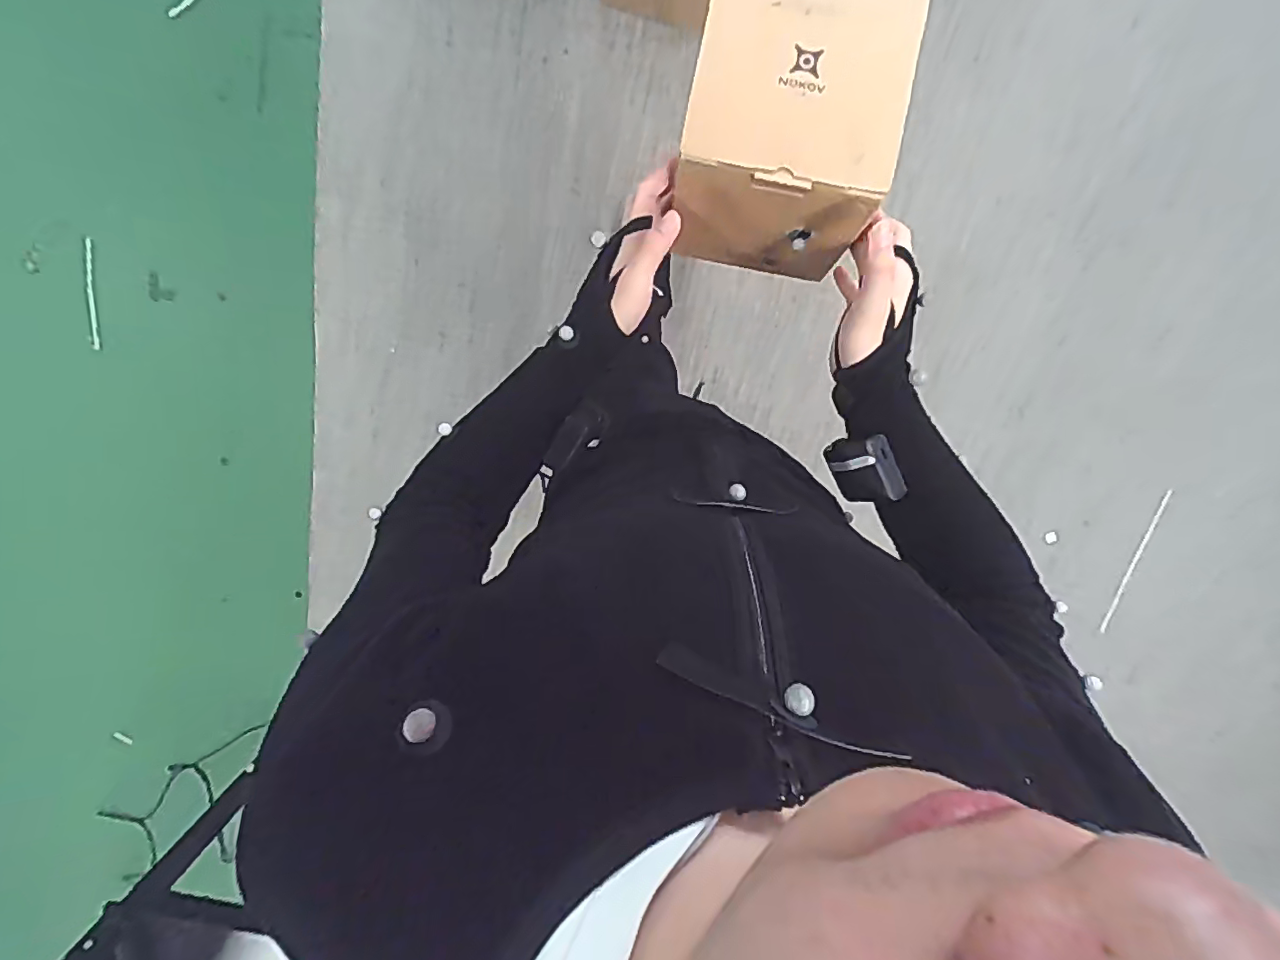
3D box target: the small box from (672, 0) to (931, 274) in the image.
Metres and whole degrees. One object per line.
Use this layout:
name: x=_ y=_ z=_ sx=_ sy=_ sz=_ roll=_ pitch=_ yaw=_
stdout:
small box: x=0.127 y=-0.313 z=0.490 sx=0.168 sy=0.176 sz=0.179 roll=13 pitch=88 yaw=0
